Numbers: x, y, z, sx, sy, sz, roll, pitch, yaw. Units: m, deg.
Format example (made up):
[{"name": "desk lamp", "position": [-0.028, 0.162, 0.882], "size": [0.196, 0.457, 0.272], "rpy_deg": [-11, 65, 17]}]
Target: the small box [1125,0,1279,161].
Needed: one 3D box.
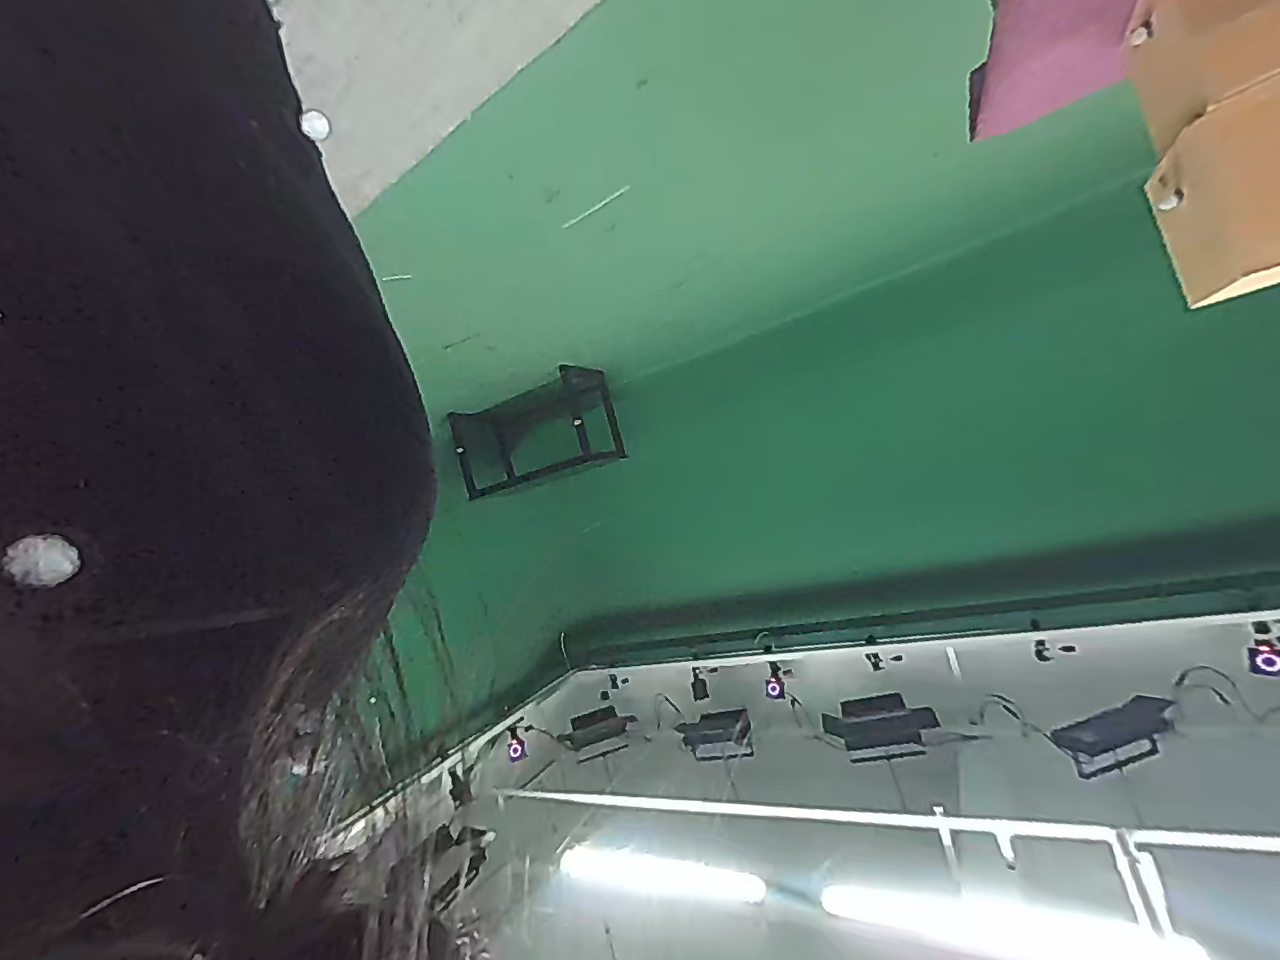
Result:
[{"name": "small box", "position": [0.632, -0.461, 0.532], "size": [0.179, 0.176, 0.168], "rpy_deg": [-18, 175, 32]}]

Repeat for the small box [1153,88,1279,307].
[{"name": "small box", "position": [0.675, -0.302, 0.543], "size": [0.179, 0.176, 0.168], "rpy_deg": [-18, 175, 32]}]
